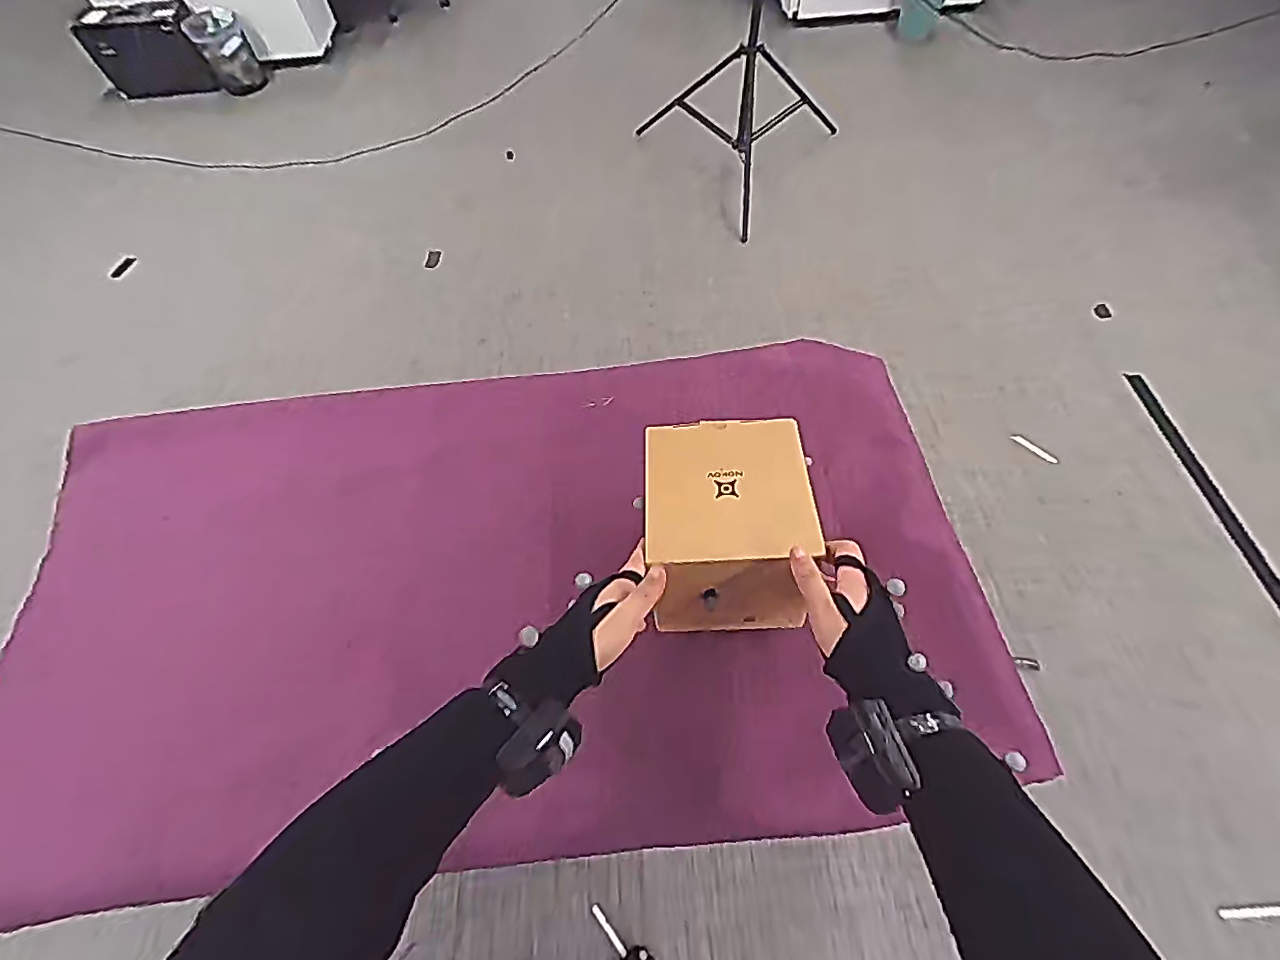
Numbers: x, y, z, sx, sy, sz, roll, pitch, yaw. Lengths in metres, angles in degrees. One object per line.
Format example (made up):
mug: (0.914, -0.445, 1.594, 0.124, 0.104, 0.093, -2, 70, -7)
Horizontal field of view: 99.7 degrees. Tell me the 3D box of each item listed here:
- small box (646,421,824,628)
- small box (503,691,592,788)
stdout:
small box: (0.097, 0.058, 0.605, 0.168, 0.176, 0.179, -3, 52, 5)
small box: (-0.196, 0.577, 1.197, 0.168, 0.176, 0.179, -4, 59, 0)
